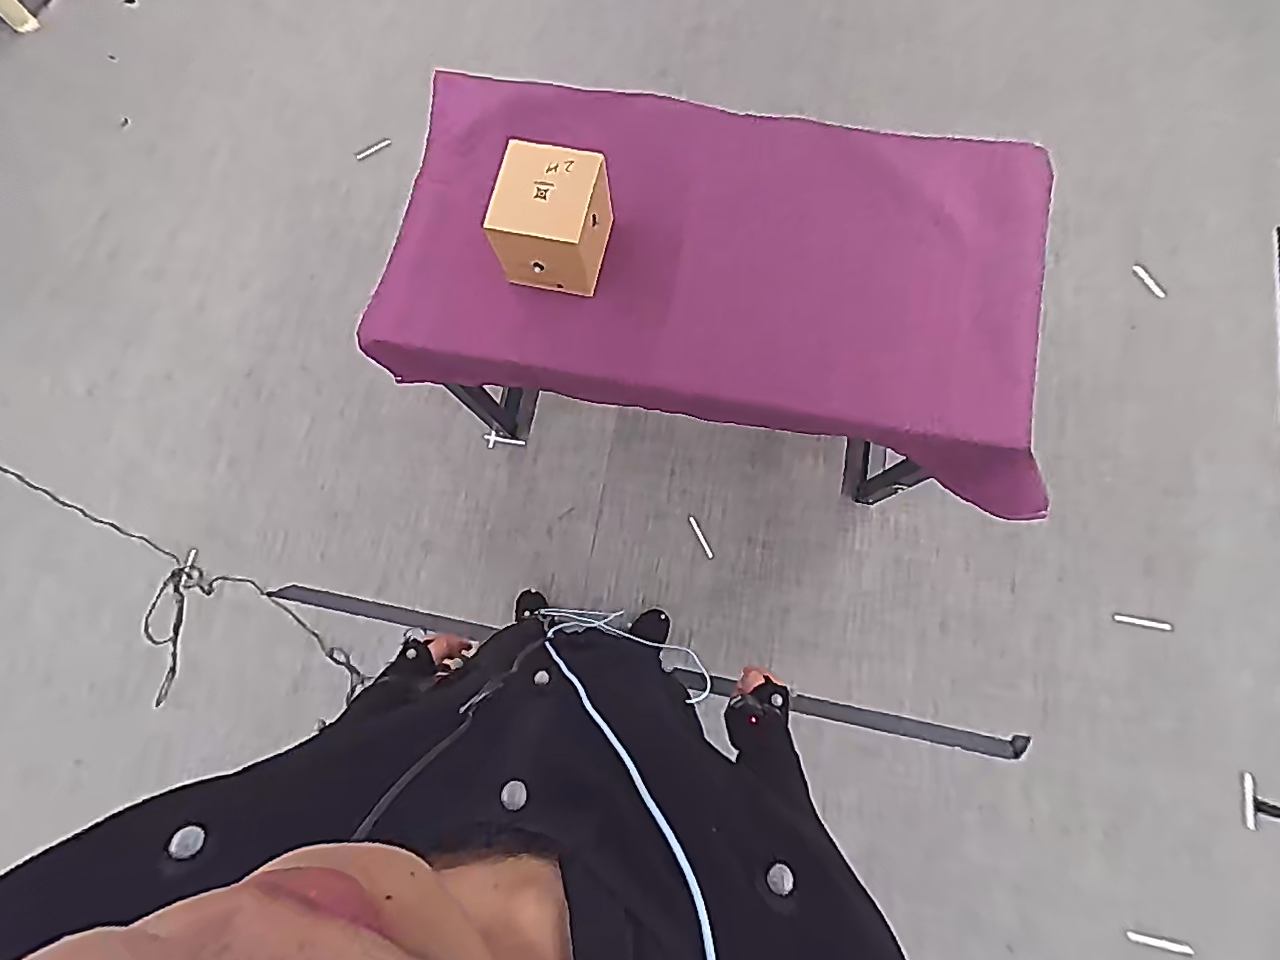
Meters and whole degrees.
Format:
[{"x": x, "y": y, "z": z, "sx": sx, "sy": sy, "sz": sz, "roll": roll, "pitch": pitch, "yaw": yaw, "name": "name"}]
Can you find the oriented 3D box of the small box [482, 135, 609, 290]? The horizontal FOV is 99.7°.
[{"x": -0.158, "y": -0.469, "z": 0.972, "sx": 0.168, "sy": 0.176, "sz": 0.179, "roll": 13, "pitch": 79, "yaw": 5, "name": "small box"}]
